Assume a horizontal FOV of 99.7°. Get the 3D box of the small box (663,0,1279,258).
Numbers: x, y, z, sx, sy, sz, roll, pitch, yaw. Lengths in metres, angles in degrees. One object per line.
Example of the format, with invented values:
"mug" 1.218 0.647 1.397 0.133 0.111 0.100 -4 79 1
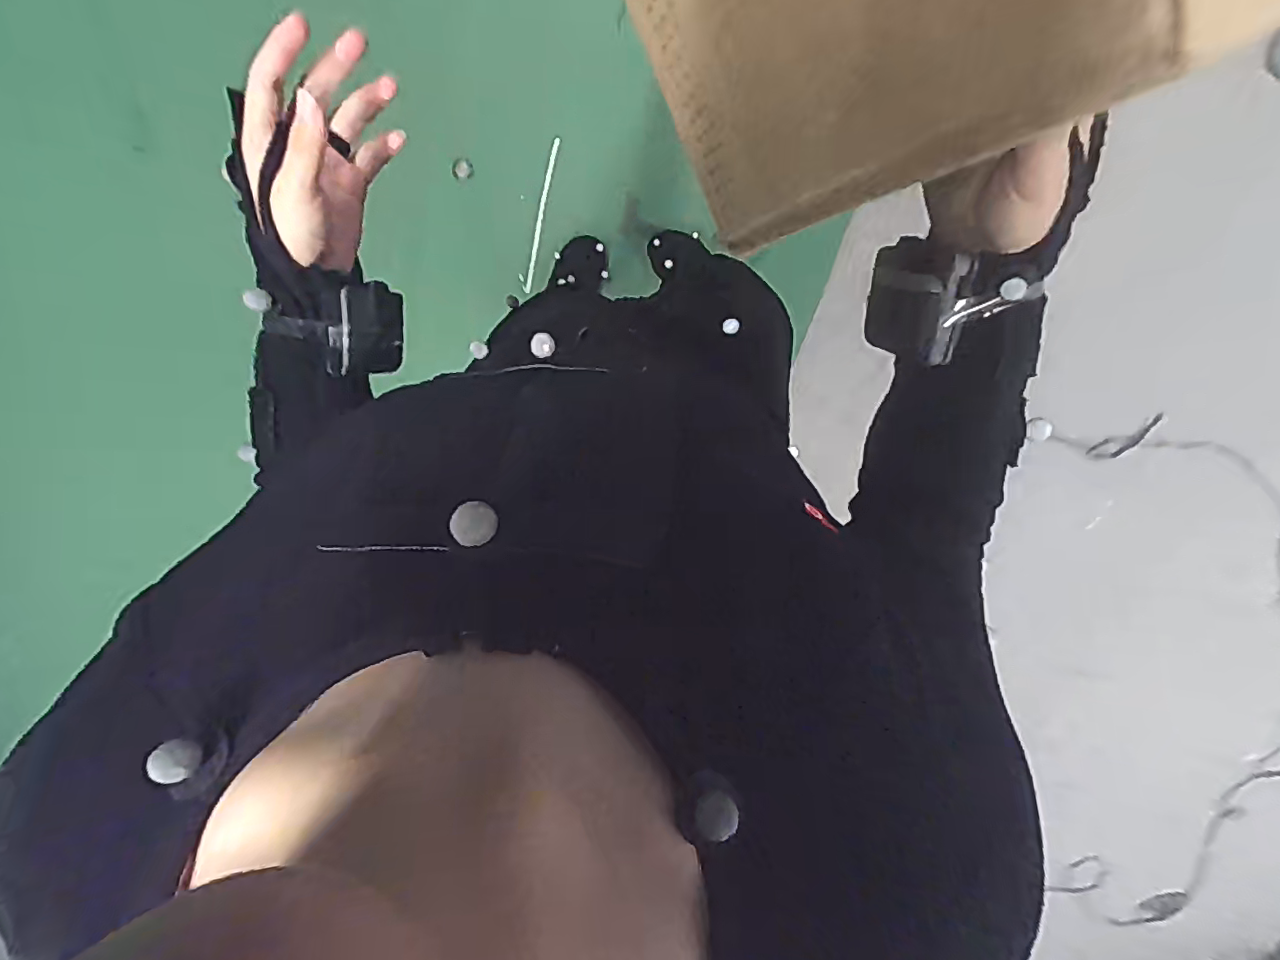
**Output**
"small box" 0.102 -0.188 0.148 0.168 0.176 0.179 -29 108 -5
